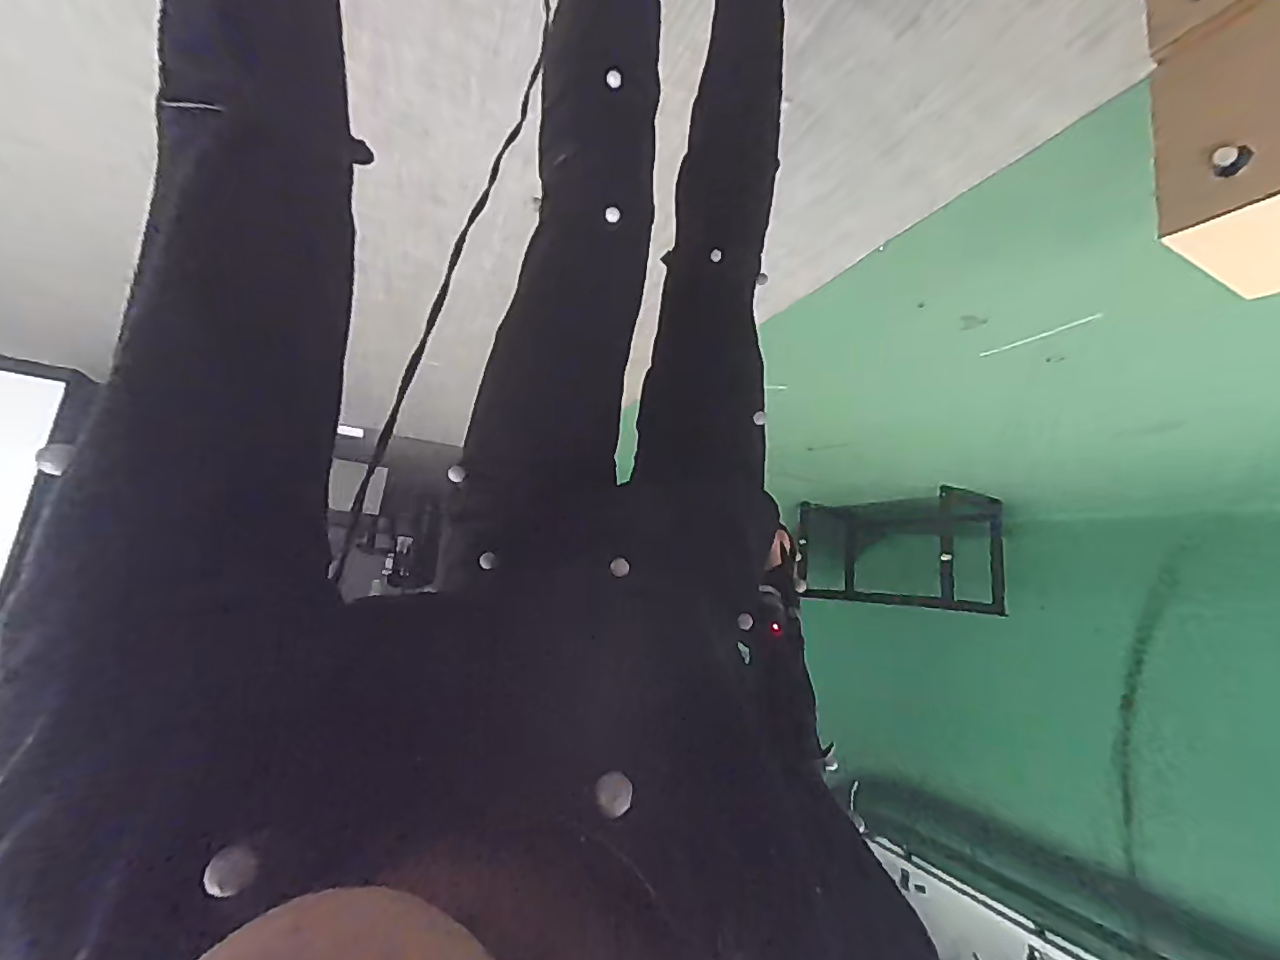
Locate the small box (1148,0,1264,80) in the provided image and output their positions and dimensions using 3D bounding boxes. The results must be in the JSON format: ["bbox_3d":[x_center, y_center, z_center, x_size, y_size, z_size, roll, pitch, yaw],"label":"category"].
[{"bbox_3d":[0.555,-0.443,0.441,0.168,0.176,0.179,11,169,-23],"label":"small box"}]

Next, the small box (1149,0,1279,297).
[{"bbox_3d":[0.547,-0.279,0.424,0.168,0.176,0.179,11,169,-24],"label":"small box"}]
